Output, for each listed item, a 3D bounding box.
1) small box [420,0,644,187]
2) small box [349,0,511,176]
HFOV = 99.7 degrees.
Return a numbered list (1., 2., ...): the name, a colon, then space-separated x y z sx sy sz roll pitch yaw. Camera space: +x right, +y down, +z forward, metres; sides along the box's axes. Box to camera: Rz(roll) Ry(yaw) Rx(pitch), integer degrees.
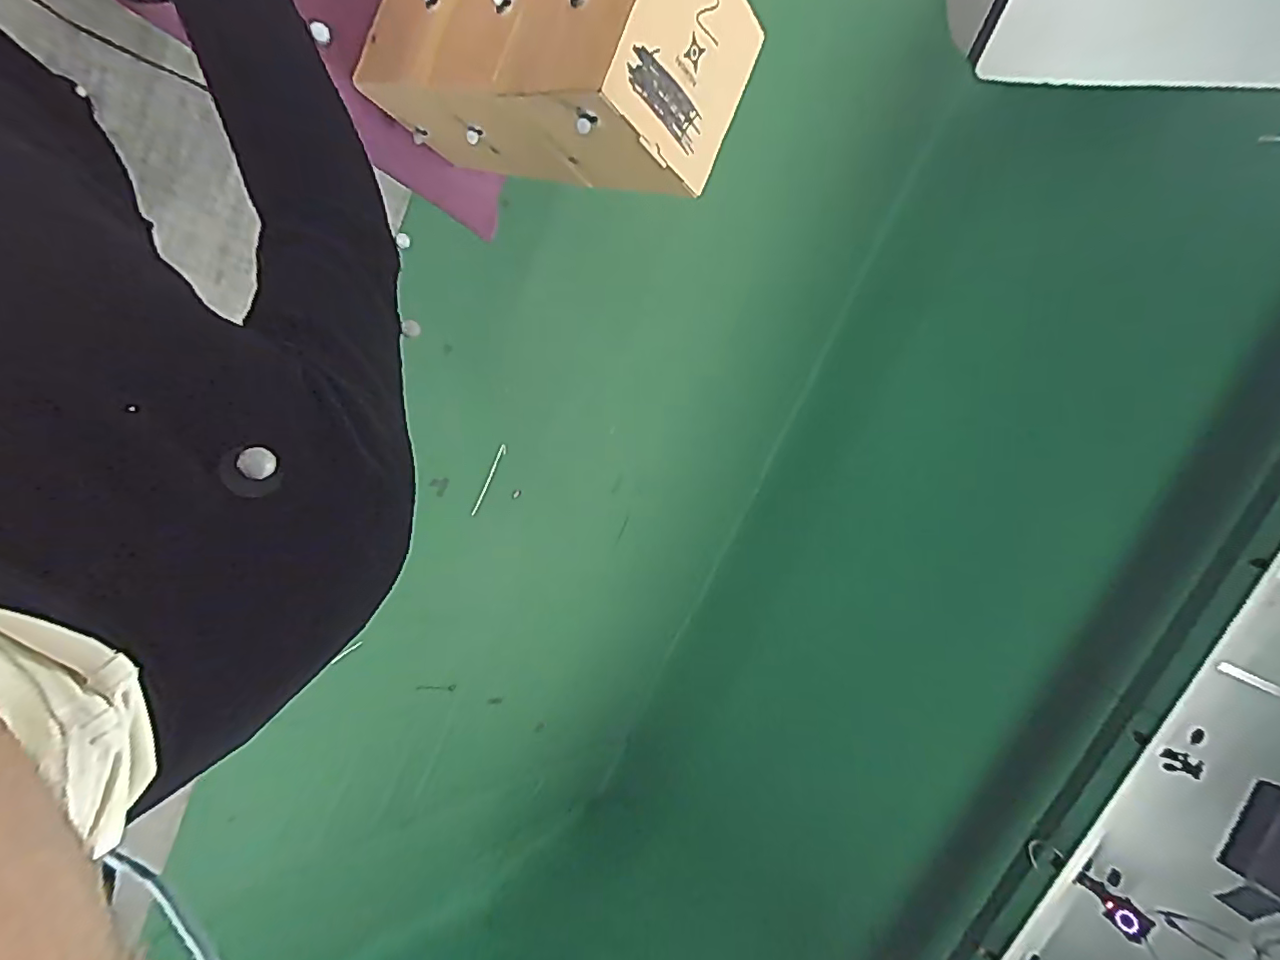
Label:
1. small box: -0.132 -0.491 0.650 0.168 0.176 0.179 18 100 -54
2. small box: -0.253 -0.555 0.738 0.179 0.176 0.168 18 99 -56
